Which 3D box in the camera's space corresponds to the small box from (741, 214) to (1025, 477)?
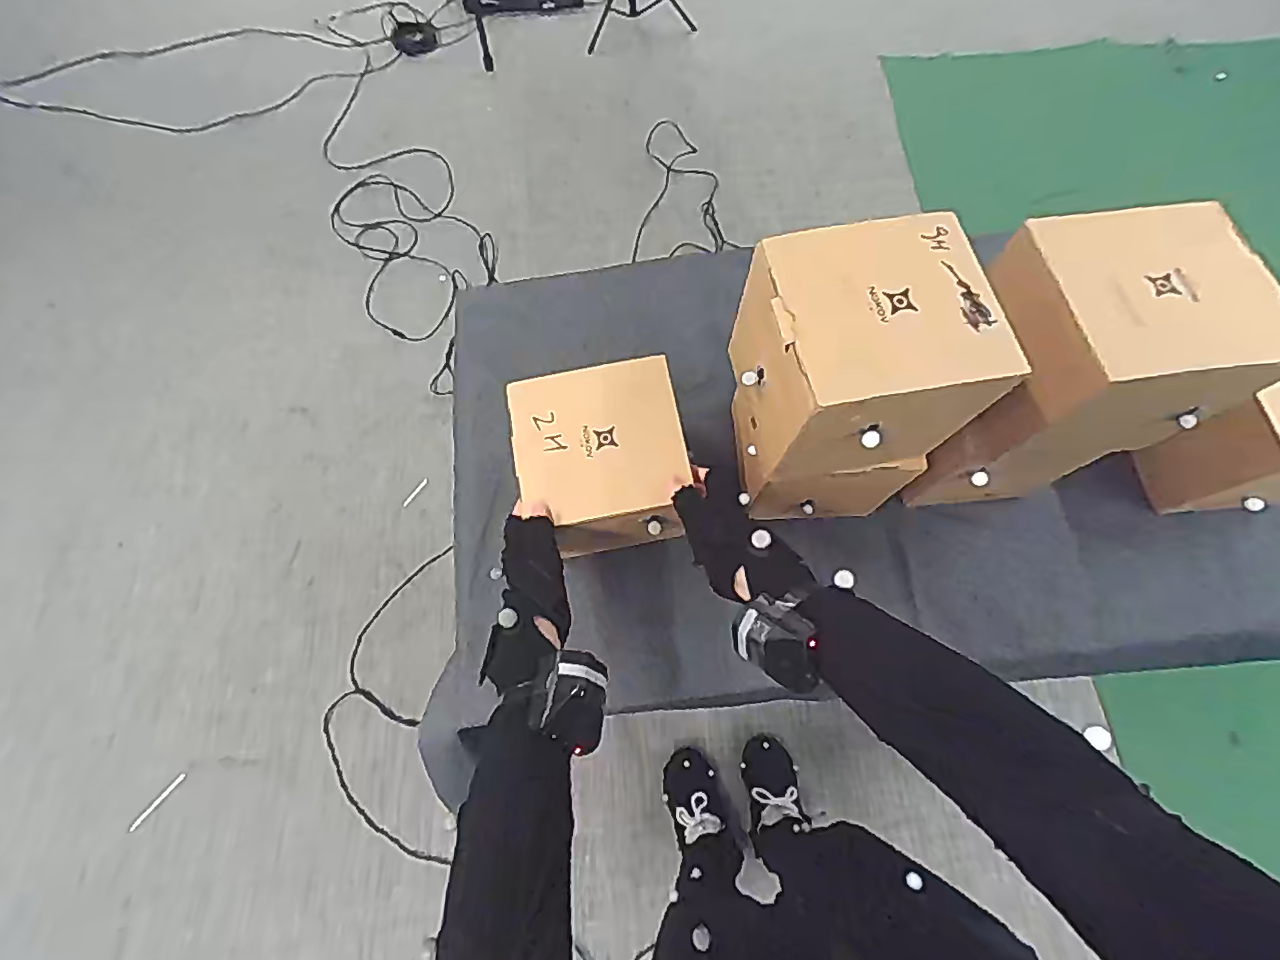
[{"bbox_3d":[0.200,-0.114,0.513,0.179,0.176,0.168,-10,70,-2],"label":"small box"}]
